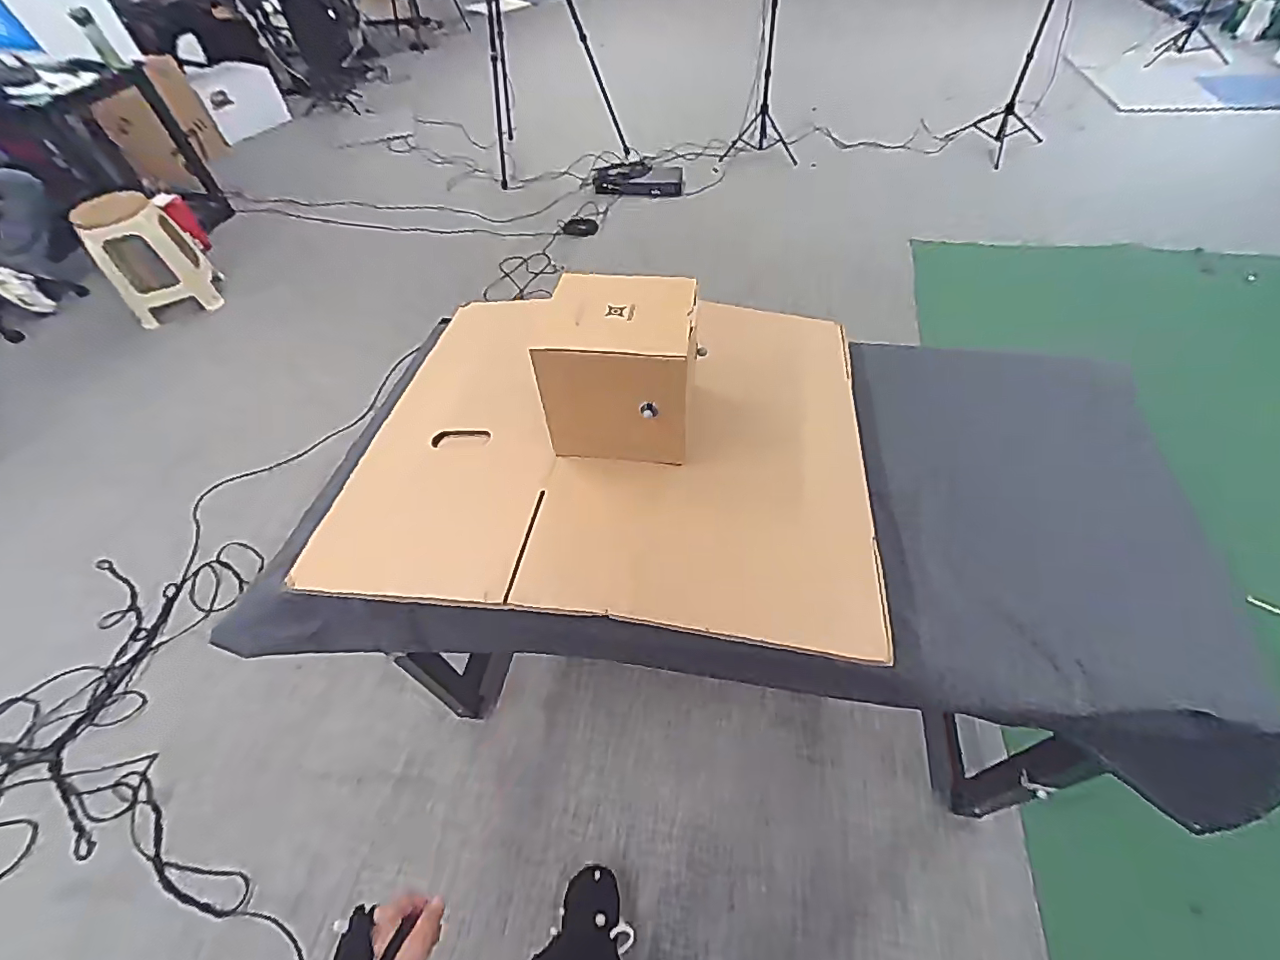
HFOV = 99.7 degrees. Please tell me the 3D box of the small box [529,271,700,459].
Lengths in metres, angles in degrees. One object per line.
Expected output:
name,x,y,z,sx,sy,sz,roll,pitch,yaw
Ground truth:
small box,-0.020,-0.142,0.684,0.179,0.176,0.168,4,49,7
